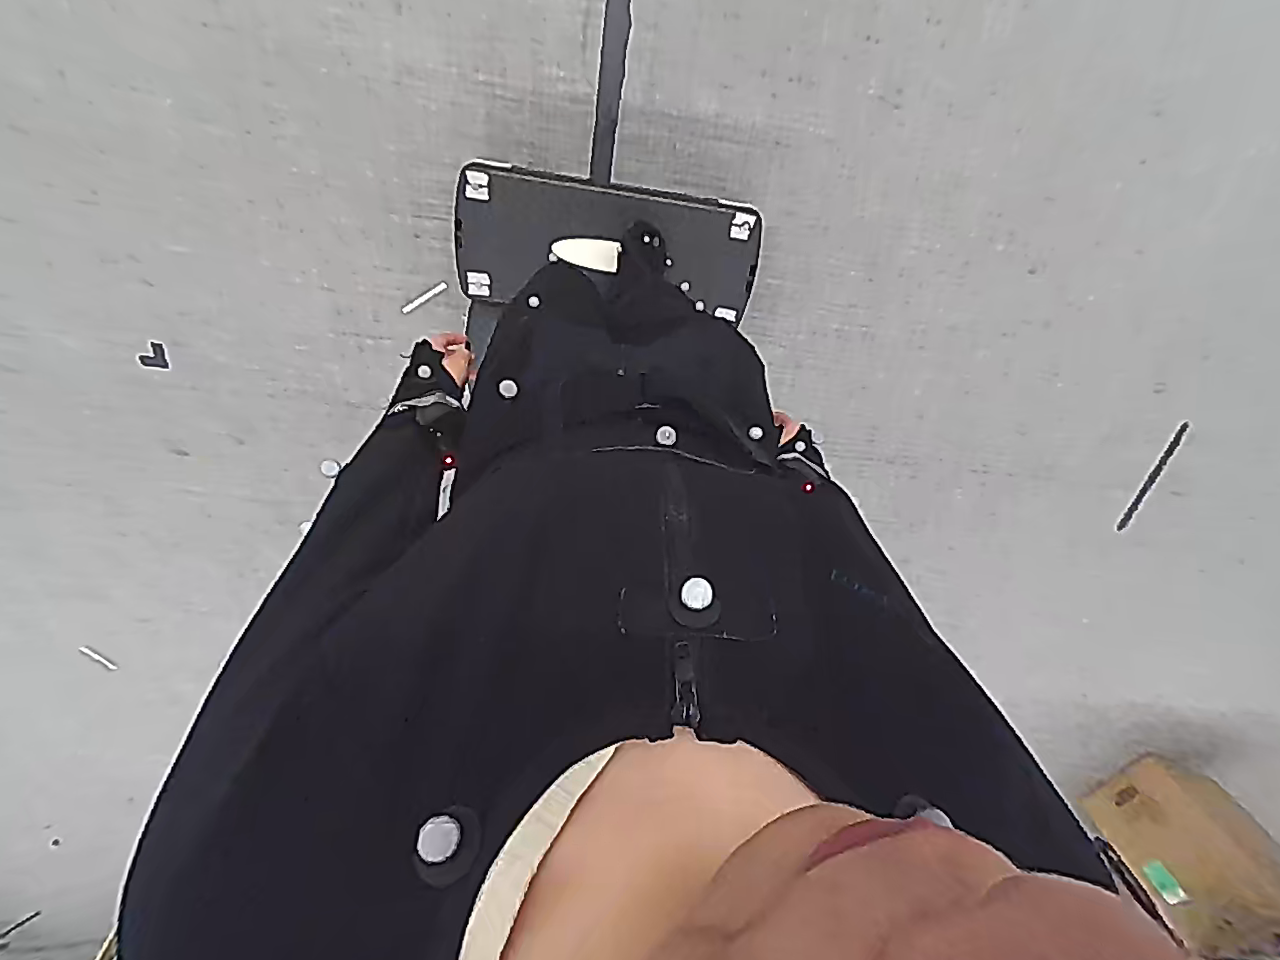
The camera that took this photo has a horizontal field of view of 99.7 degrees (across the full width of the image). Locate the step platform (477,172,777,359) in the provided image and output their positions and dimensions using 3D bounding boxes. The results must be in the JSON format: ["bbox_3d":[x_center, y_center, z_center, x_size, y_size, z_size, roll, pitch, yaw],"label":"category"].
[{"bbox_3d":[-0.032,-0.499,1.282,0.684,0.204,0.286,10,116,-8],"label":"step platform"}]
